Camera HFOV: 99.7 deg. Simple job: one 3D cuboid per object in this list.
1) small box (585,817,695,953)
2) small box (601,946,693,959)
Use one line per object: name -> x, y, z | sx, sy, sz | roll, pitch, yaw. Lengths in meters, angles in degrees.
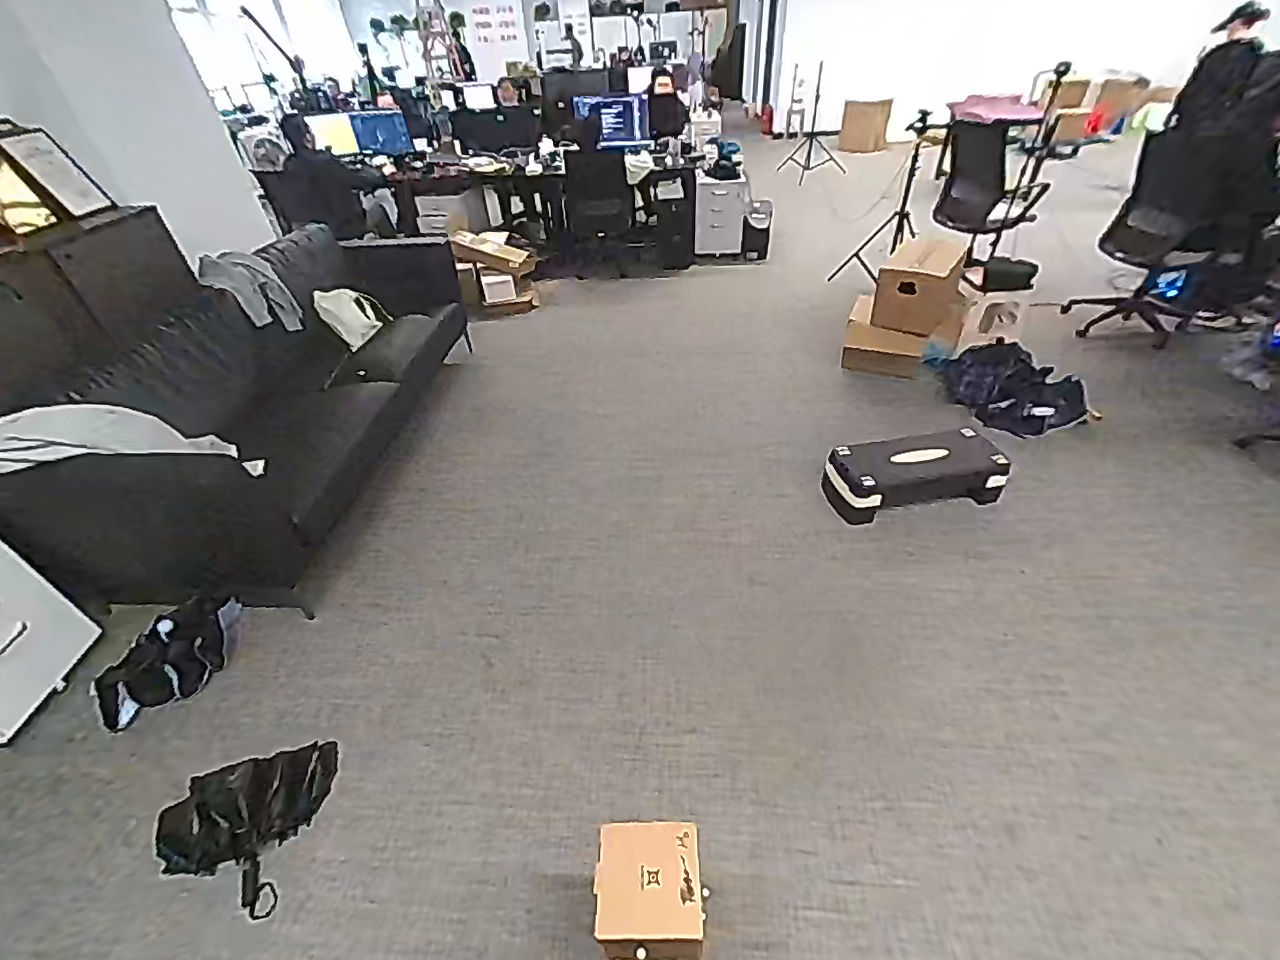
small box -> 0.006, 0.726, 0.970 | 0.179, 0.176, 0.168 | -3, 40, 3
small box -> 0.015, 0.850, 1.076 | 0.168, 0.176, 0.179 | -3, 40, 2
